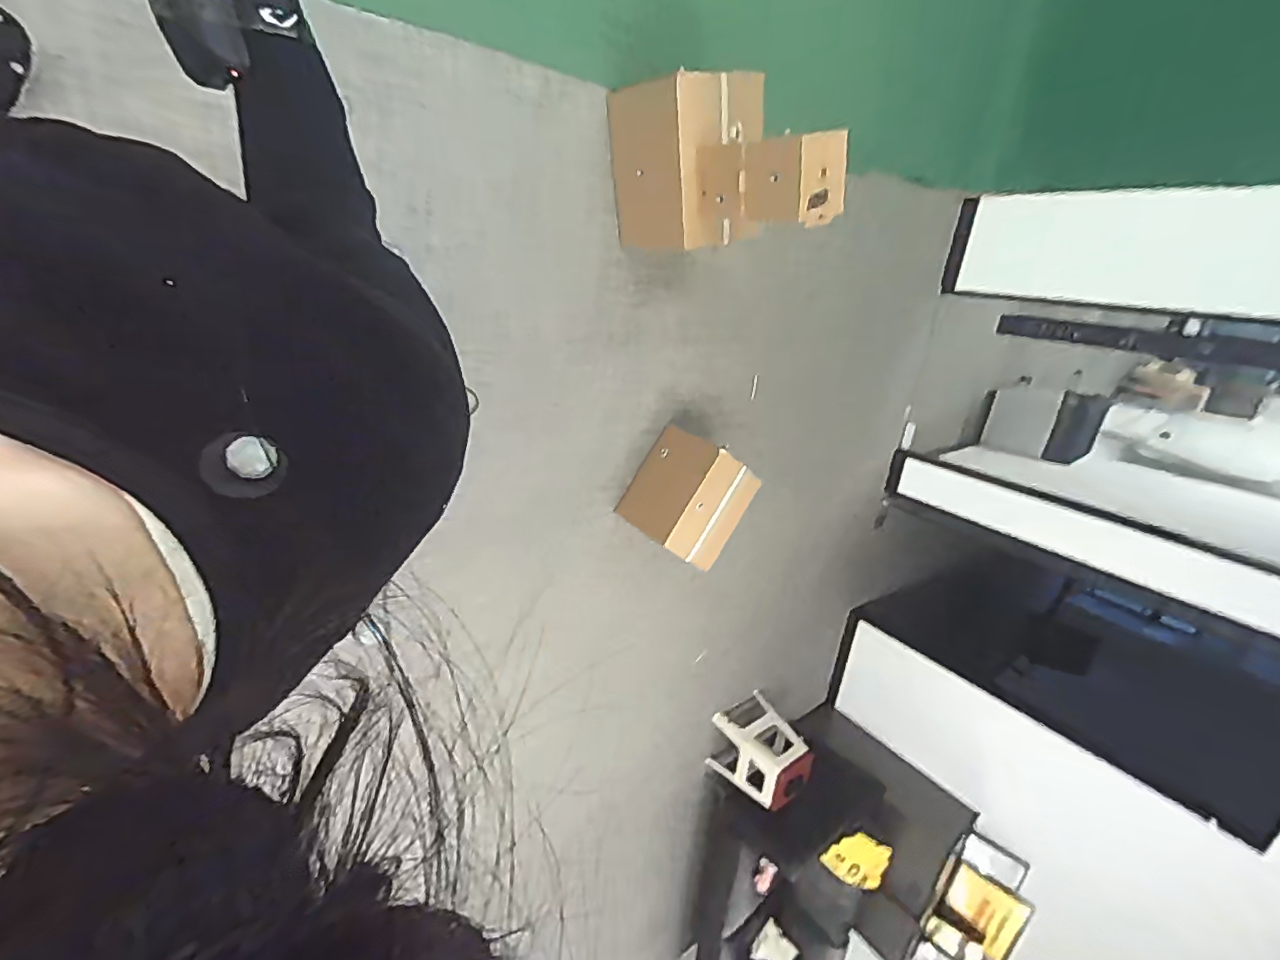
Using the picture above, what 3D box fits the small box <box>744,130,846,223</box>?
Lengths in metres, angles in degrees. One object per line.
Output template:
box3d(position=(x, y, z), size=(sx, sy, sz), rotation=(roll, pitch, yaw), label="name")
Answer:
box3d(position=(0.363, -0.723, 1.293), size=(0.168, 0.176, 0.179), rotation=(-25, 125, -29), label="small box")

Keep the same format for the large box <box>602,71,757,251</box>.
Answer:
box3d(position=(0.120, -0.906, 1.570), size=(0.320, 0.320, 0.408), rotation=(-26, 123, -30), label="large box")

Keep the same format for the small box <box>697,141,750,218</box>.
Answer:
box3d(position=(0.262, -0.781, 1.408), size=(0.179, 0.176, 0.168), rotation=(-24, 125, -30), label="small box")
